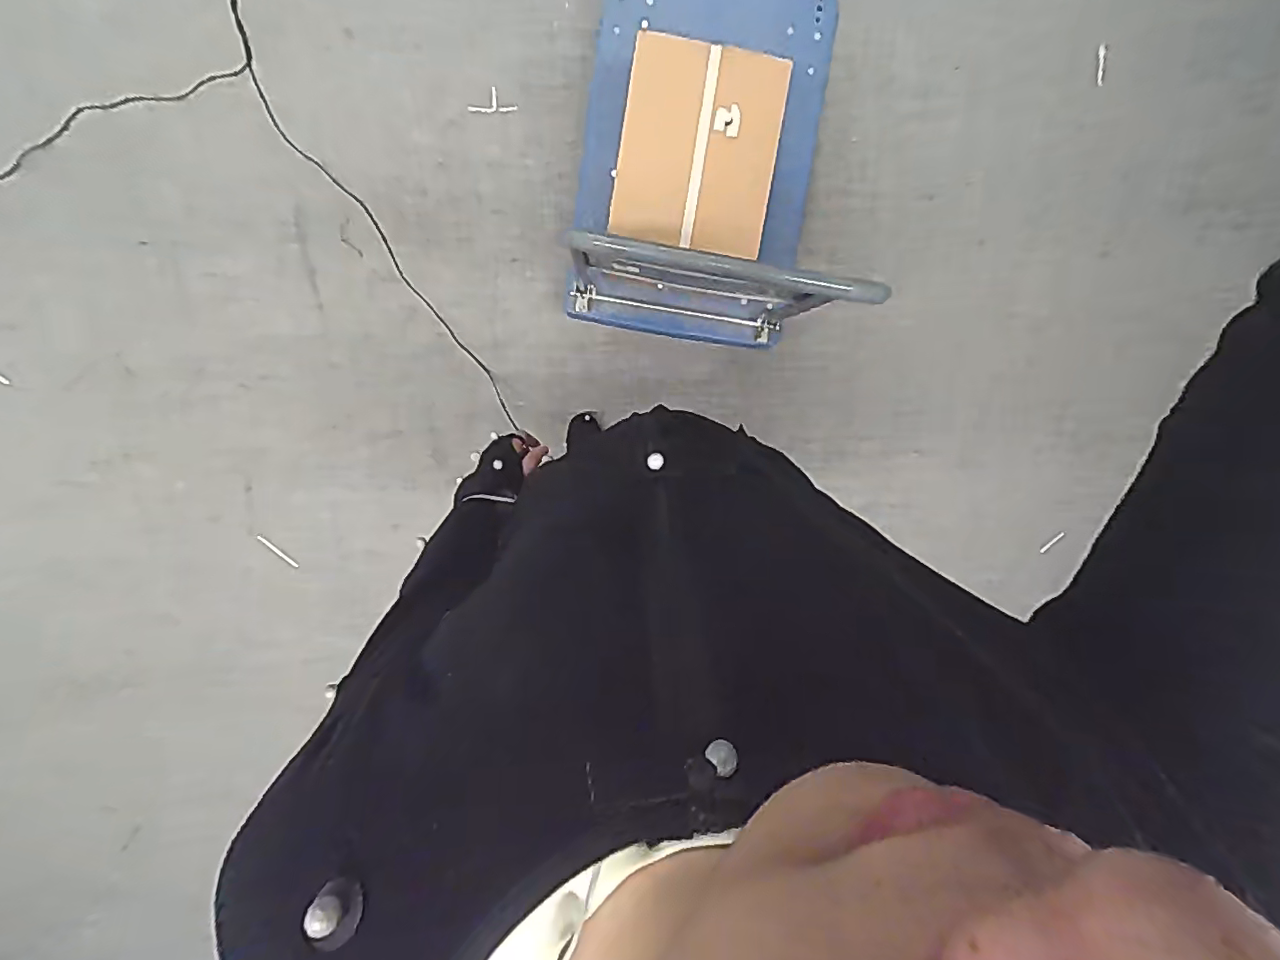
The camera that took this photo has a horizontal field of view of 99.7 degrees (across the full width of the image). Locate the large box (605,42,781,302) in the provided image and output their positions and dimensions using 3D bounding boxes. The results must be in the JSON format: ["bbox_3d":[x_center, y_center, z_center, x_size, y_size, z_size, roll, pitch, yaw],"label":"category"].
[{"bbox_3d":[0.100,-0.665,1.243,0.320,0.320,0.408,9,95,-5],"label":"large box"}]
